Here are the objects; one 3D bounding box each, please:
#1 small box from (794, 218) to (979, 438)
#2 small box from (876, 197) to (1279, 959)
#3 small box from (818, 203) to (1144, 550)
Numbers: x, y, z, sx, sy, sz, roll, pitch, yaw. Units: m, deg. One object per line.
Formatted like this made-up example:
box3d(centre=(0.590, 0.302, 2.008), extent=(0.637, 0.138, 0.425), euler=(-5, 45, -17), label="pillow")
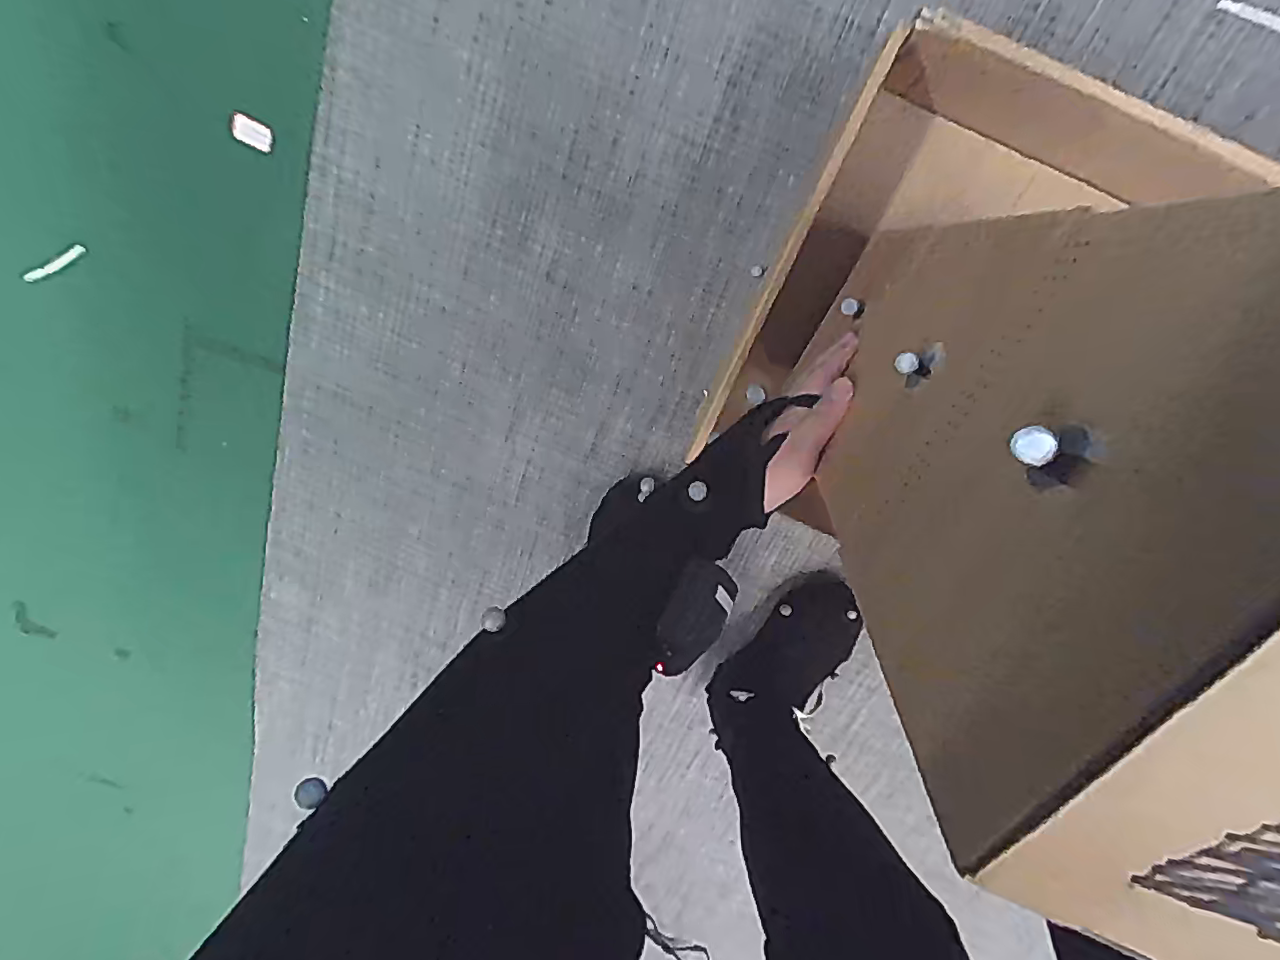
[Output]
box3d(centre=(0.252, -0.100, 0.471), extent=(0.168, 0.176, 0.179), euler=(27, 113, -3), label="small box")
box3d(centre=(0.202, 0.031, 0.175), extent=(0.168, 0.176, 0.179), euler=(25, 113, -2), label="small box")
box3d(centre=(0.228, -0.035, 0.323), extent=(0.168, 0.176, 0.179), euler=(27, 114, -3), label="small box")
